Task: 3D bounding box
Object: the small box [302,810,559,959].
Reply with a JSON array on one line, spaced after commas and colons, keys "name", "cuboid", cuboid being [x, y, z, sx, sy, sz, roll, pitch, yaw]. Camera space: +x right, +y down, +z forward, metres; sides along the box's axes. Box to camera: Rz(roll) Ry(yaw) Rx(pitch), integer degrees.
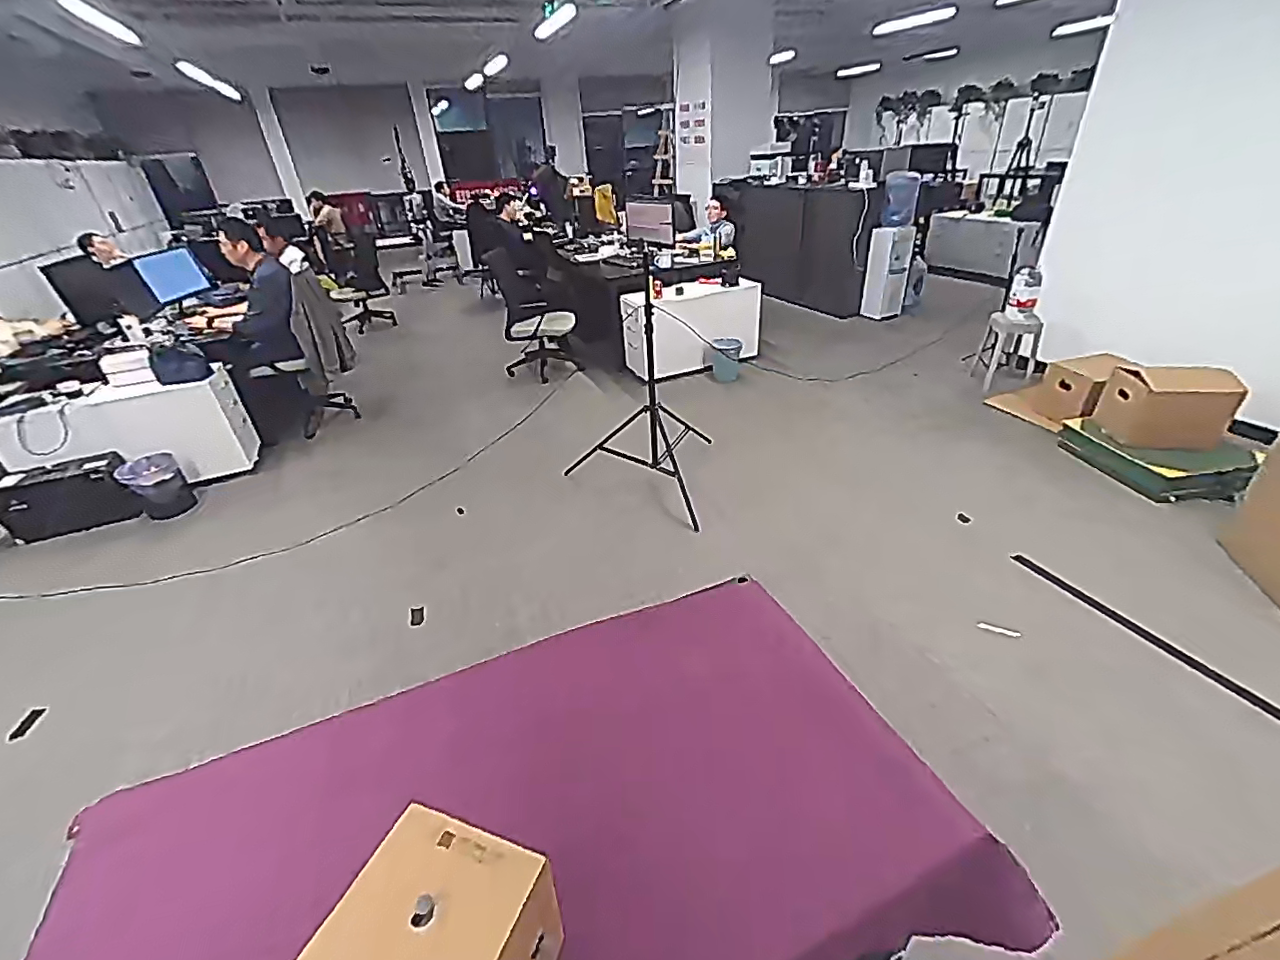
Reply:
[{"name": "small box", "cuboid": [-0.190, 0.454, 0.507, 0.168, 0.179, 0.176, 10, 32, 19]}]
